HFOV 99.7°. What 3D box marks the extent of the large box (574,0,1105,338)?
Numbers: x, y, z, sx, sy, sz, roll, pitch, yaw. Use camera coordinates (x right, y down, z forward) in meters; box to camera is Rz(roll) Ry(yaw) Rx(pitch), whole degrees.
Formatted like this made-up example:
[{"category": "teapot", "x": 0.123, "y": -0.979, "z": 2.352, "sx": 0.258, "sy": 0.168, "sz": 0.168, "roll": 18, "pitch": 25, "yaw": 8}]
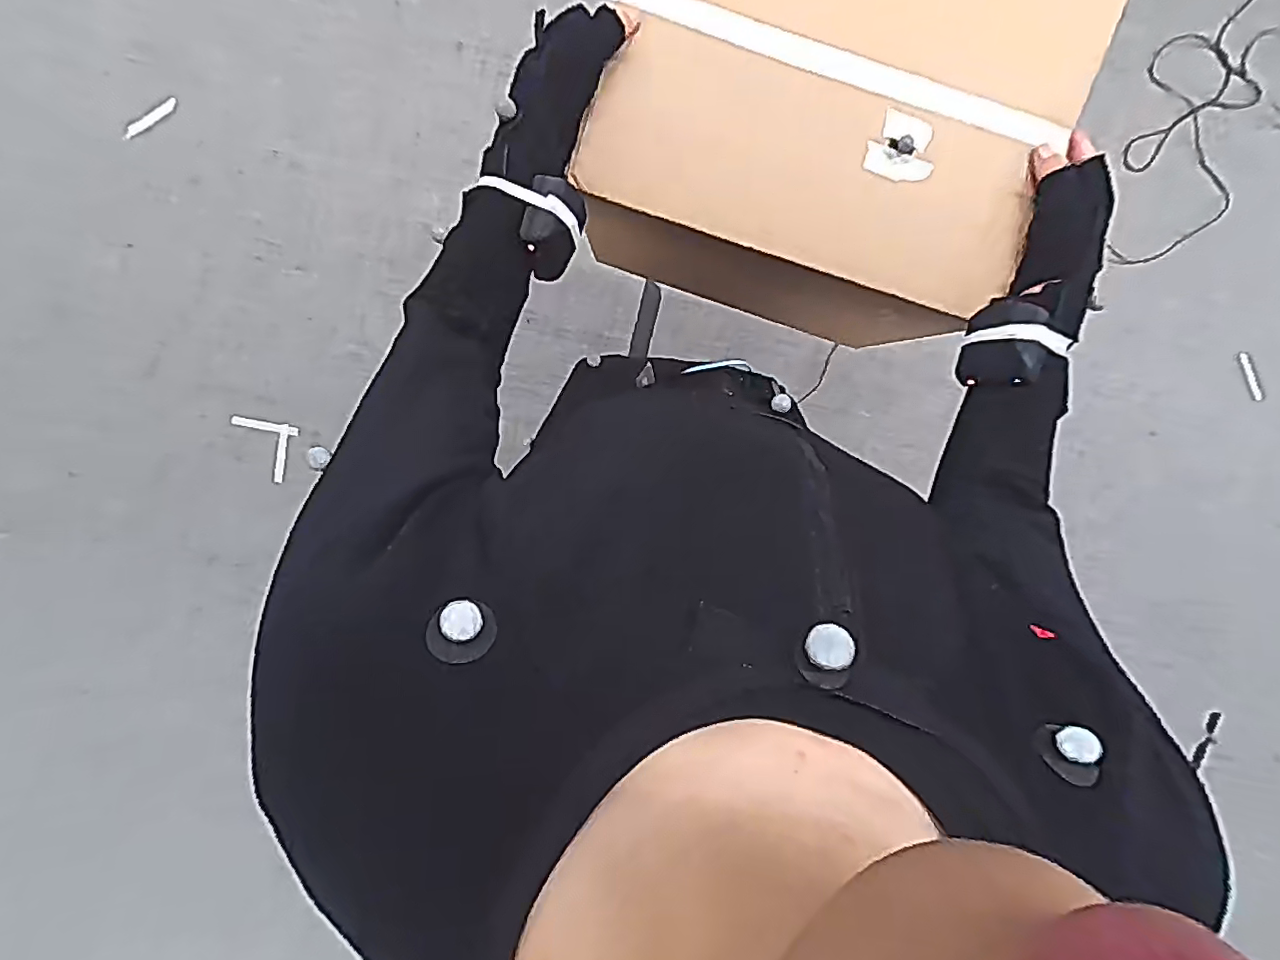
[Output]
[{"category": "large box", "x": 0.167, "y": -0.376, "z": 0.612, "sx": 0.408, "sy": 0.320, "sz": 0.320, "roll": 17, "pitch": 101, "yaw": -4}]
